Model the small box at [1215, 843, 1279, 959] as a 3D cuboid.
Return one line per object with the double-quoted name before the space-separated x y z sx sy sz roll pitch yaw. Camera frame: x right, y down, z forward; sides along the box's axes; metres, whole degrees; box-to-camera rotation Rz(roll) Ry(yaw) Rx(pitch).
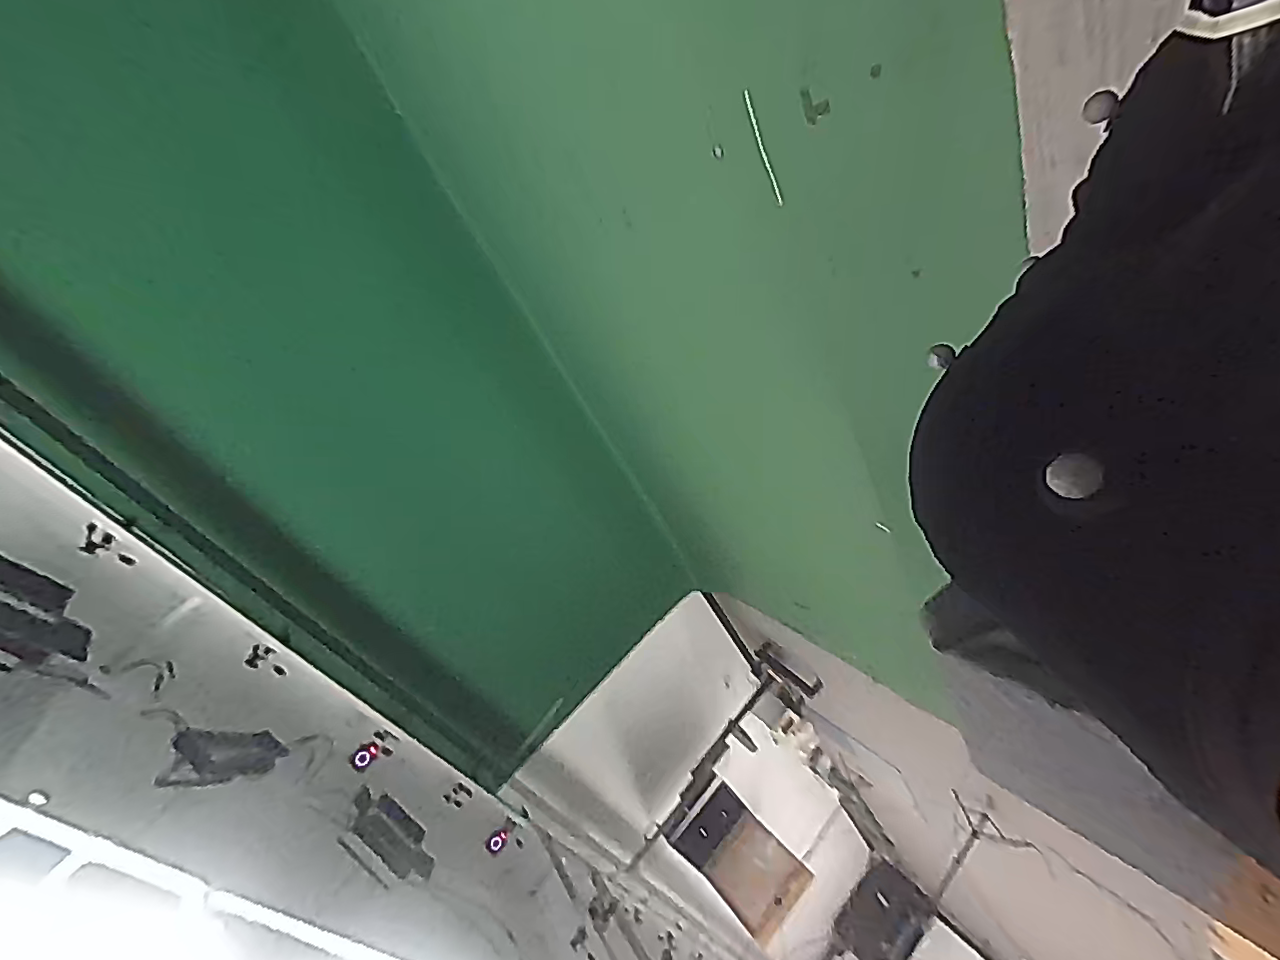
"small box" 1.062 0.715 0.850 0.179 0.176 0.168 20 150 55
